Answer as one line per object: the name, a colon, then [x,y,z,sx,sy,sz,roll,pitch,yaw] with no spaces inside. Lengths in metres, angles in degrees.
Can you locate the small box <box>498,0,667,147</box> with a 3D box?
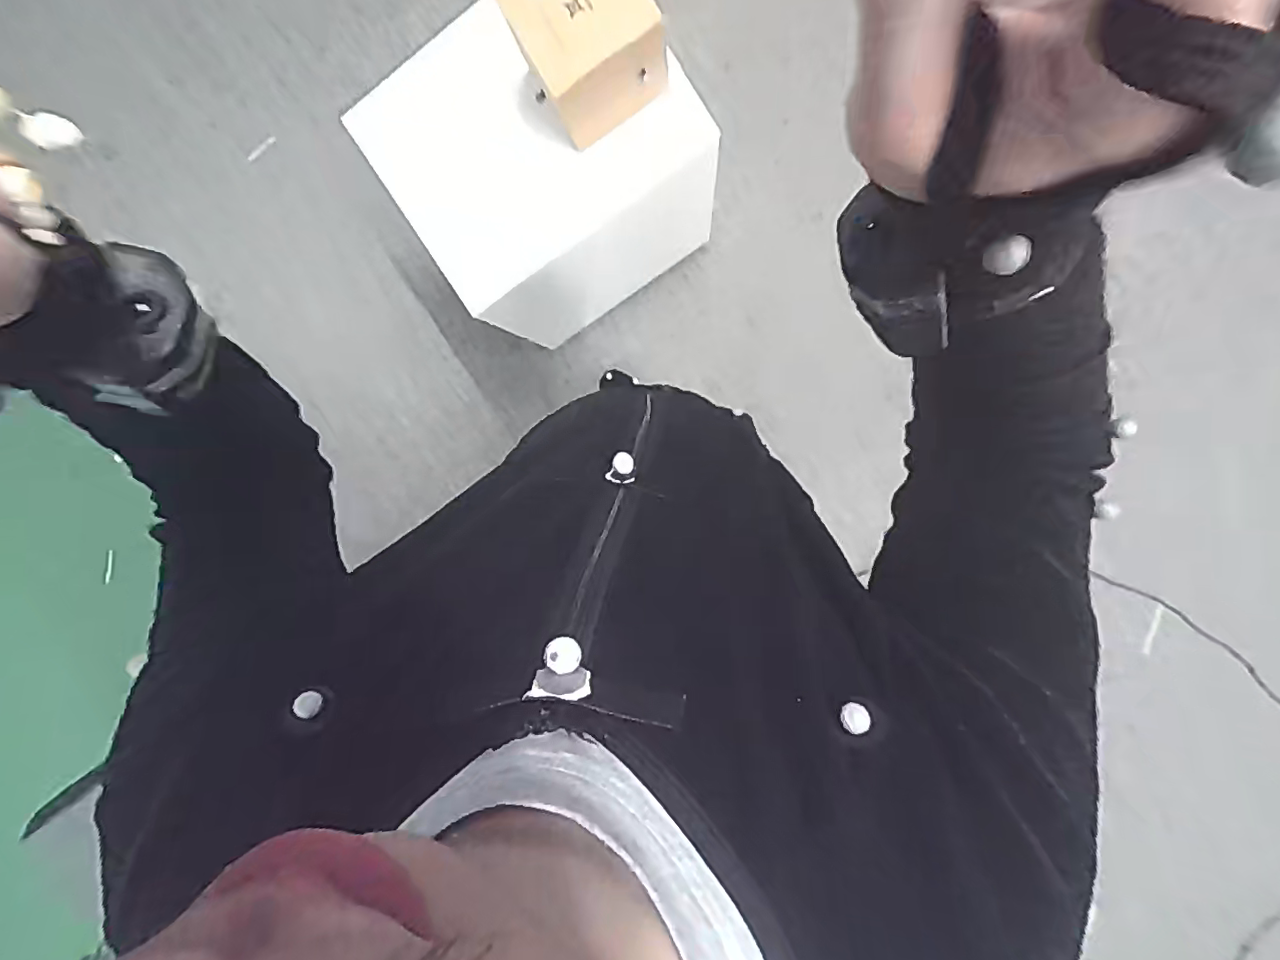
small box: [-0.072,-0.636,0.782,0.179,0.176,0.168,-32,93,11]
